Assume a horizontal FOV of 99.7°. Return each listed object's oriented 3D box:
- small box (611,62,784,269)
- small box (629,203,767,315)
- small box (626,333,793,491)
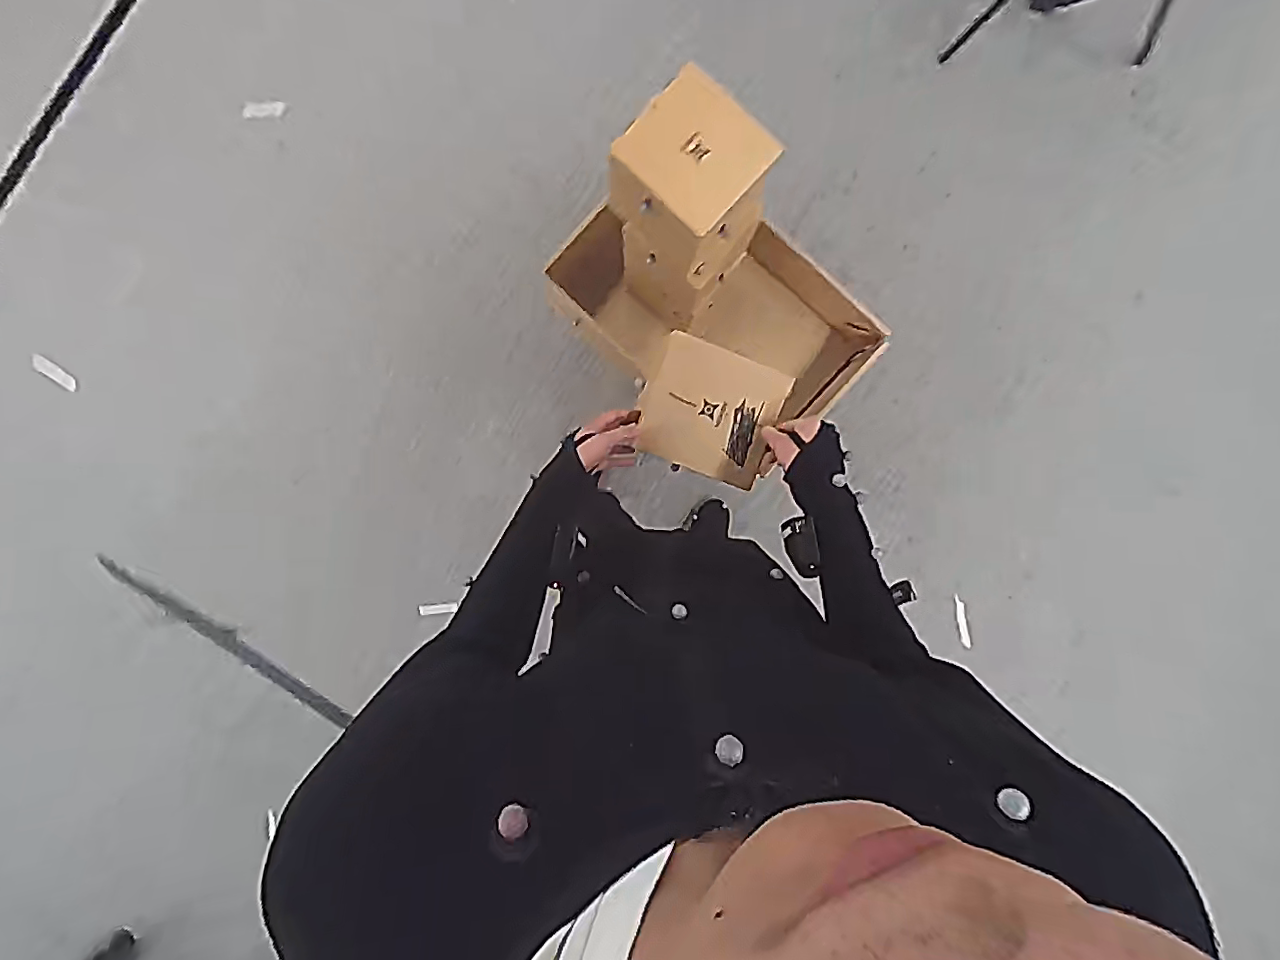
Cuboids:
[{"bbox_3d":[0.077,-0.442,0.799,0.179,0.176,0.168,43,90,-2],"label":"small box"},{"bbox_3d":[0.091,-0.428,0.963,0.168,0.176,0.179,40,90,-2],"label":"small box"},{"bbox_3d":[0.089,-0.100,0.790,0.179,0.176,0.168,19,97,-8],"label":"small box"}]
